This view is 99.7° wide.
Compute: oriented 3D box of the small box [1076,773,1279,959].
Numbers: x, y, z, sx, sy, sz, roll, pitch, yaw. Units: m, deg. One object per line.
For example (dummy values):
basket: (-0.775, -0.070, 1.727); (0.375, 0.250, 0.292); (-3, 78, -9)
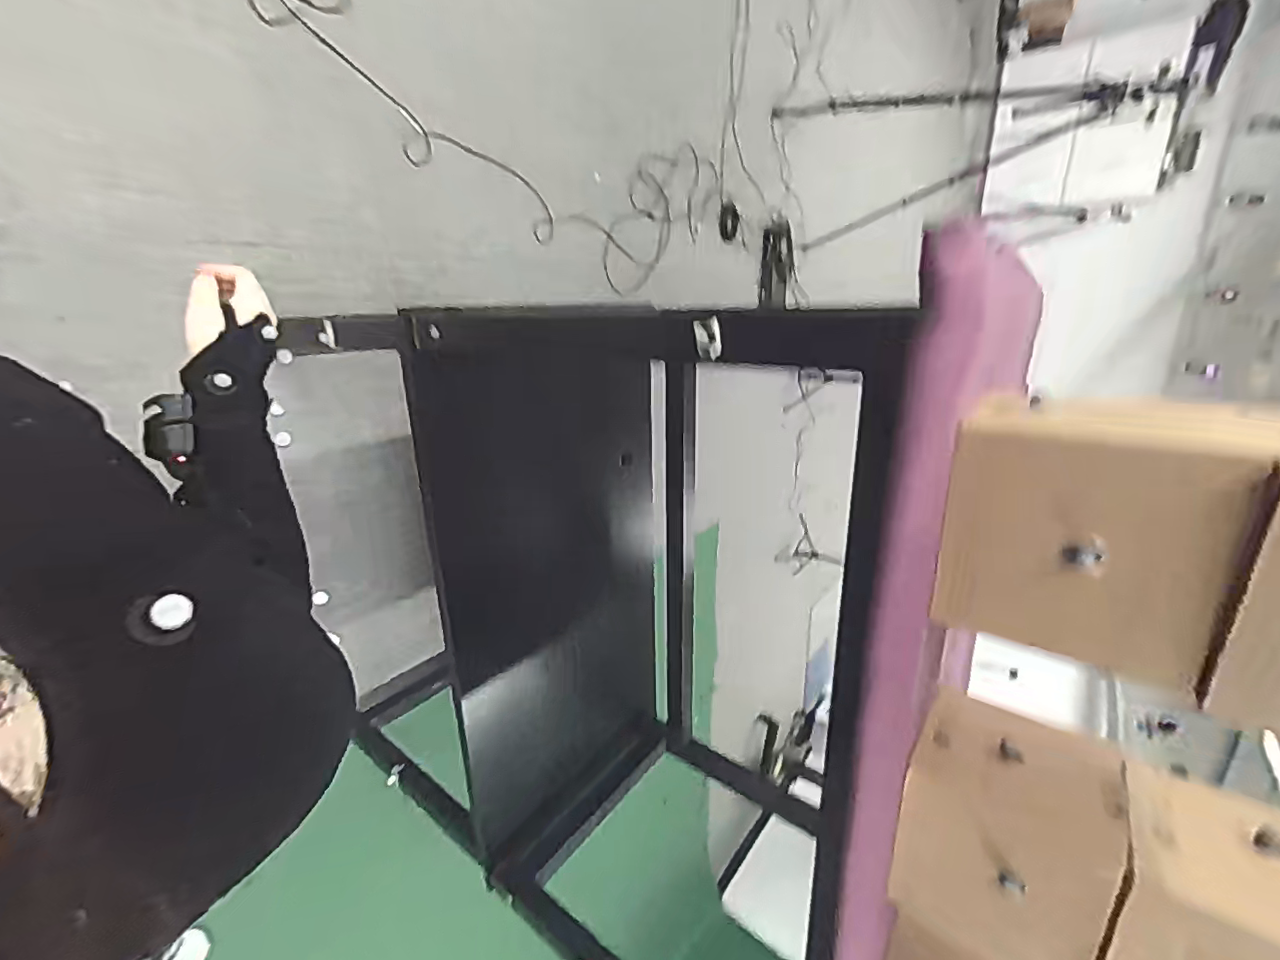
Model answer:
small box: (0.487, 0.393, 0.470); (0.168, 0.176, 0.179); (-16, 114, -50)

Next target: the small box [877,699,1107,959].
small box: (0.361, 0.360, 0.569); (0.168, 0.176, 0.179); (-20, 115, -48)
